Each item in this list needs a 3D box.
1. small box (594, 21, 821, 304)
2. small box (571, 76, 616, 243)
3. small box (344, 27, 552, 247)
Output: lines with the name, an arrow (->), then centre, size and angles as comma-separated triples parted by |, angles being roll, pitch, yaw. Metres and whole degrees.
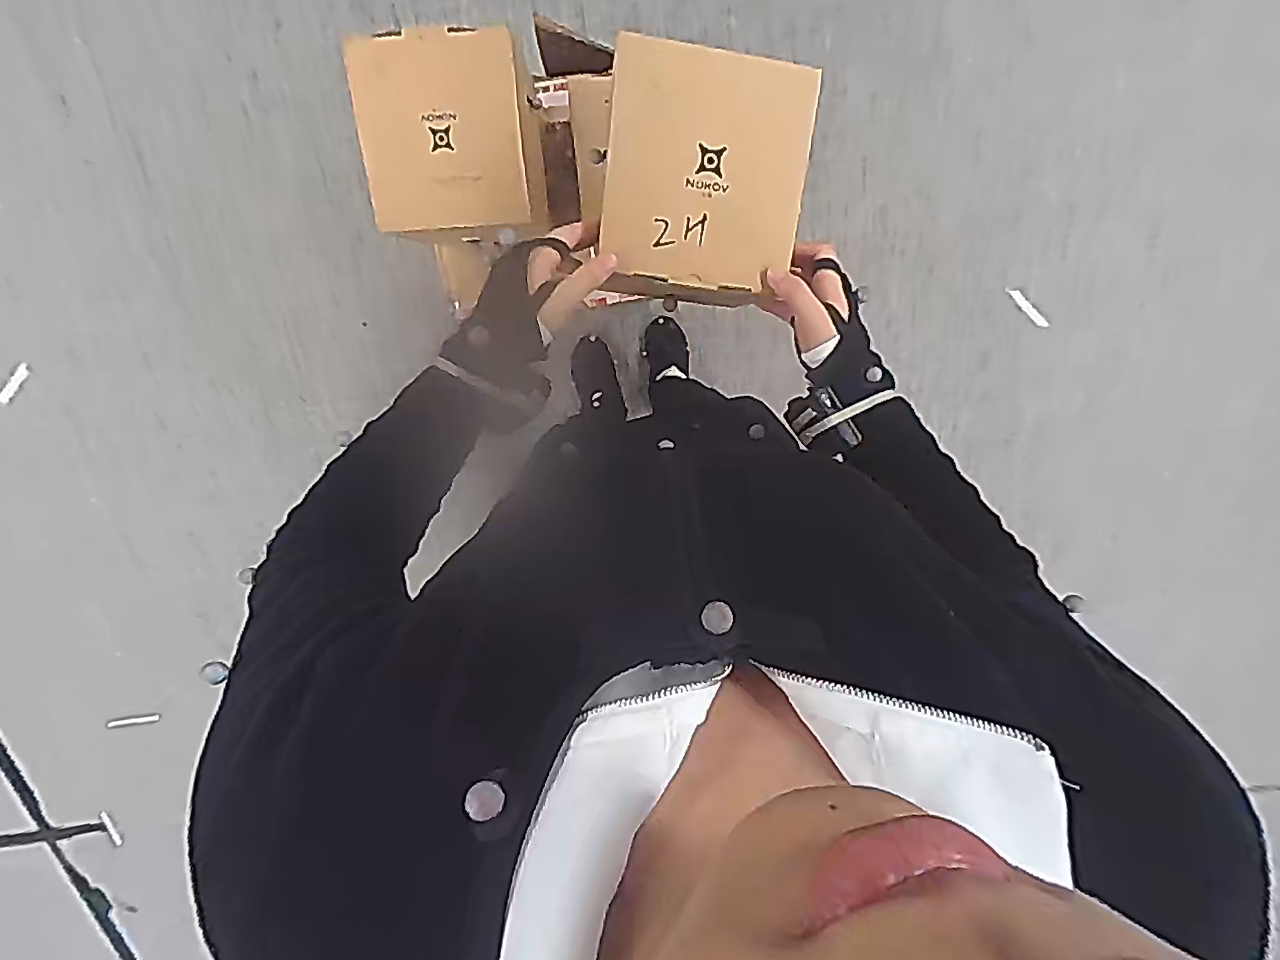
small box -> 0.047, -0.274, 0.513 | 0.168, 0.176, 0.179 | 5, 103, -7
small box -> -0.009, -0.450, 0.780 | 0.168, 0.176, 0.179 | -6, 109, -3
small box -> -0.201, -0.373, 0.620 | 0.168, 0.176, 0.179 | -4, 110, 1
